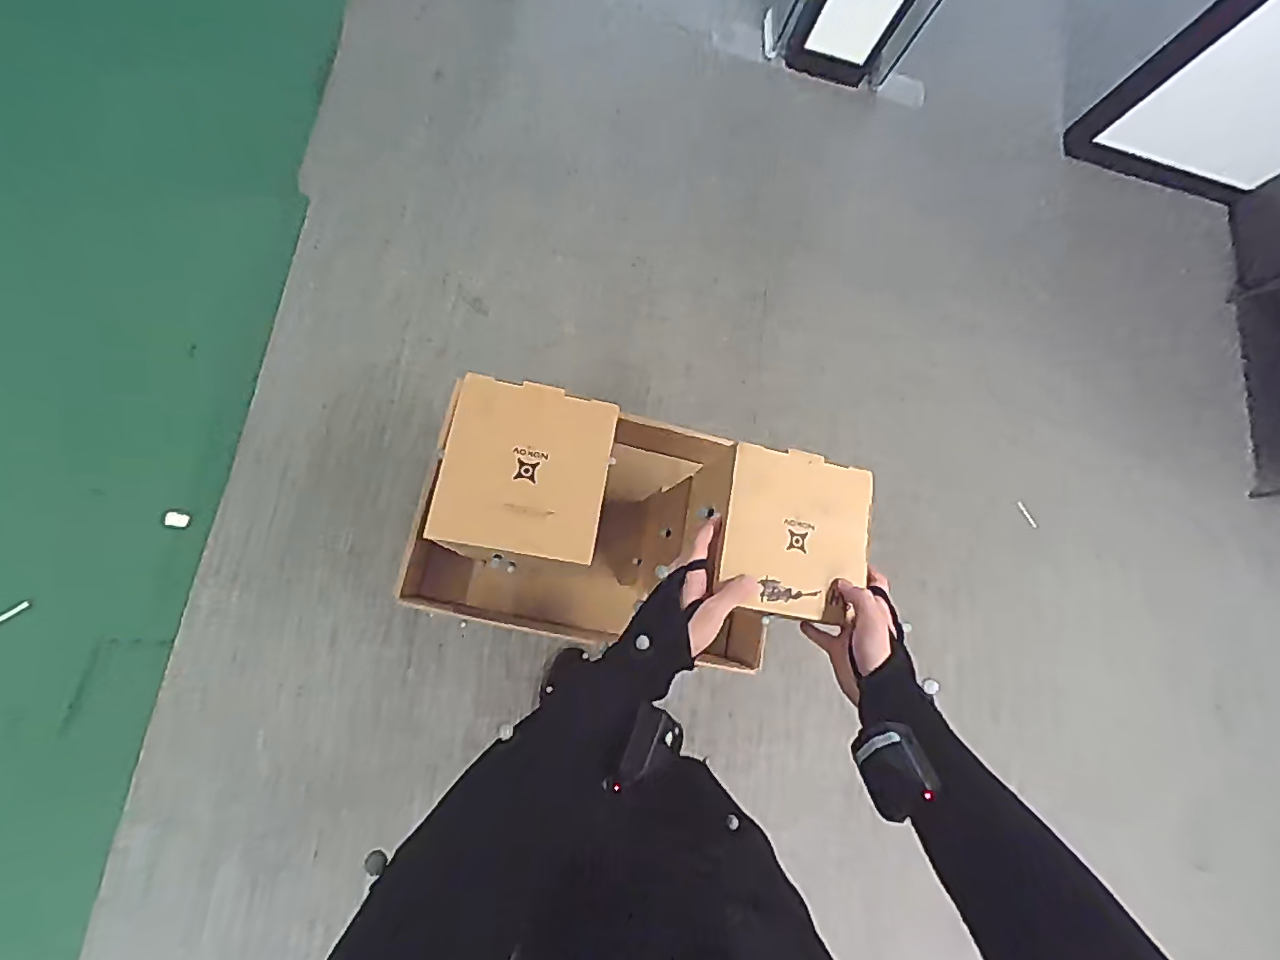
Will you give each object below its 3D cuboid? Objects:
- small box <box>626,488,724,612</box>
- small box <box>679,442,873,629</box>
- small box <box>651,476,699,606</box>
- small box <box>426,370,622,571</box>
[{"bbox_3d":[0.081,0.132,0.984,0.168,0.176,0.179,16,77,-9],"label":"small box"},{"bbox_3d":[0.153,0.074,0.651,0.168,0.176,0.179,12,76,-8],"label":"small box"},{"bbox_3d":[0.121,0.108,0.826,0.168,0.176,0.179,12,77,-10],"label":"small box"},{"bbox_3d":[-0.128,0.002,0.623,0.168,0.176,0.179,12,76,-8],"label":"small box"}]
